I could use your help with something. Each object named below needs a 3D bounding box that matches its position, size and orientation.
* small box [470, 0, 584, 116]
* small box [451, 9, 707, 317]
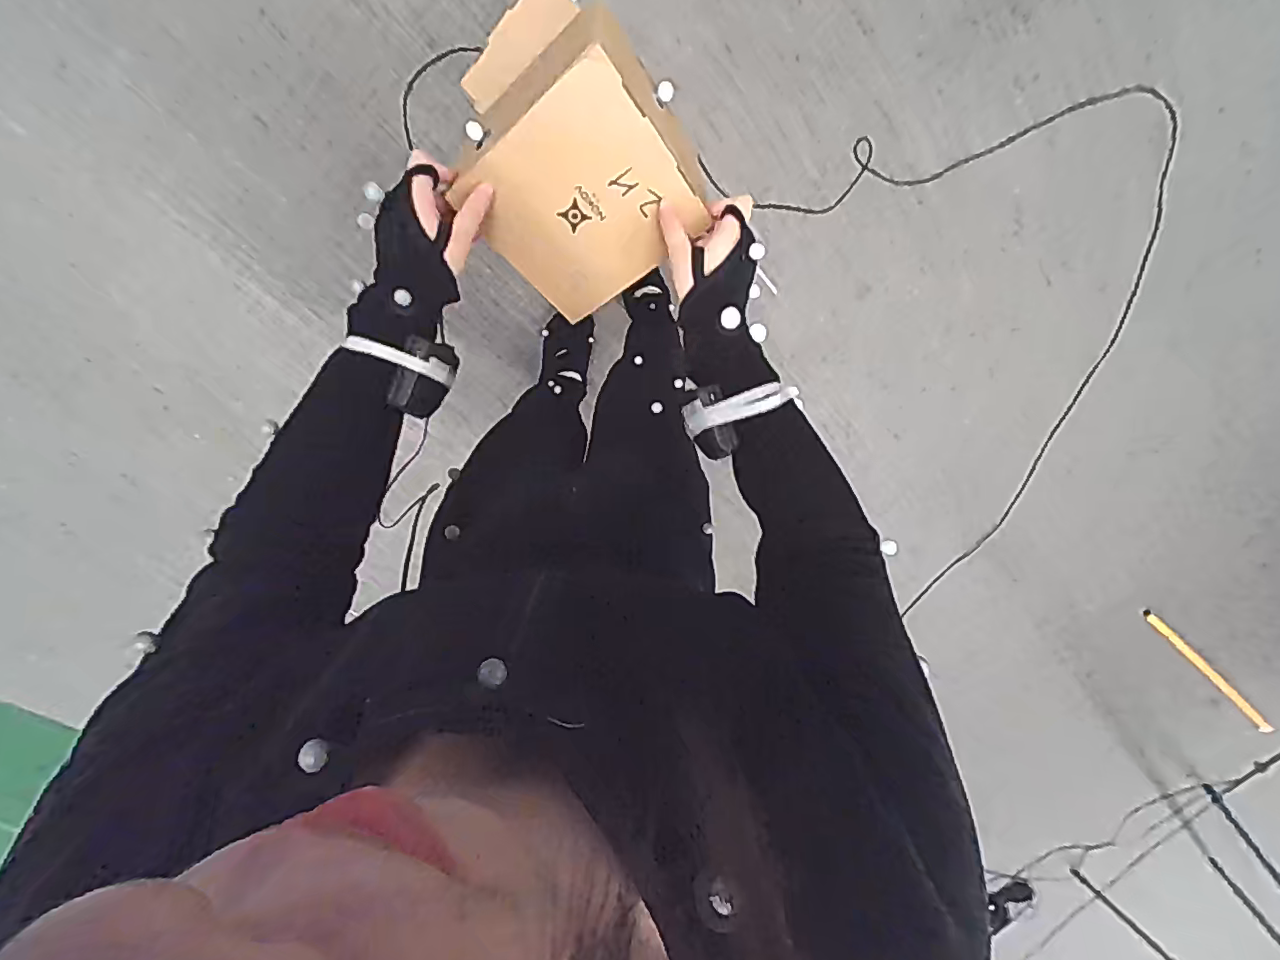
[{"bbox_3d":[-0.107,-0.539,0.775,0.179,0.176,0.168,40,108,-21],"label":"small box"},{"bbox_3d":[-0.053,-0.308,0.538,0.179,0.176,0.168,-27,135,26],"label":"small box"}]
